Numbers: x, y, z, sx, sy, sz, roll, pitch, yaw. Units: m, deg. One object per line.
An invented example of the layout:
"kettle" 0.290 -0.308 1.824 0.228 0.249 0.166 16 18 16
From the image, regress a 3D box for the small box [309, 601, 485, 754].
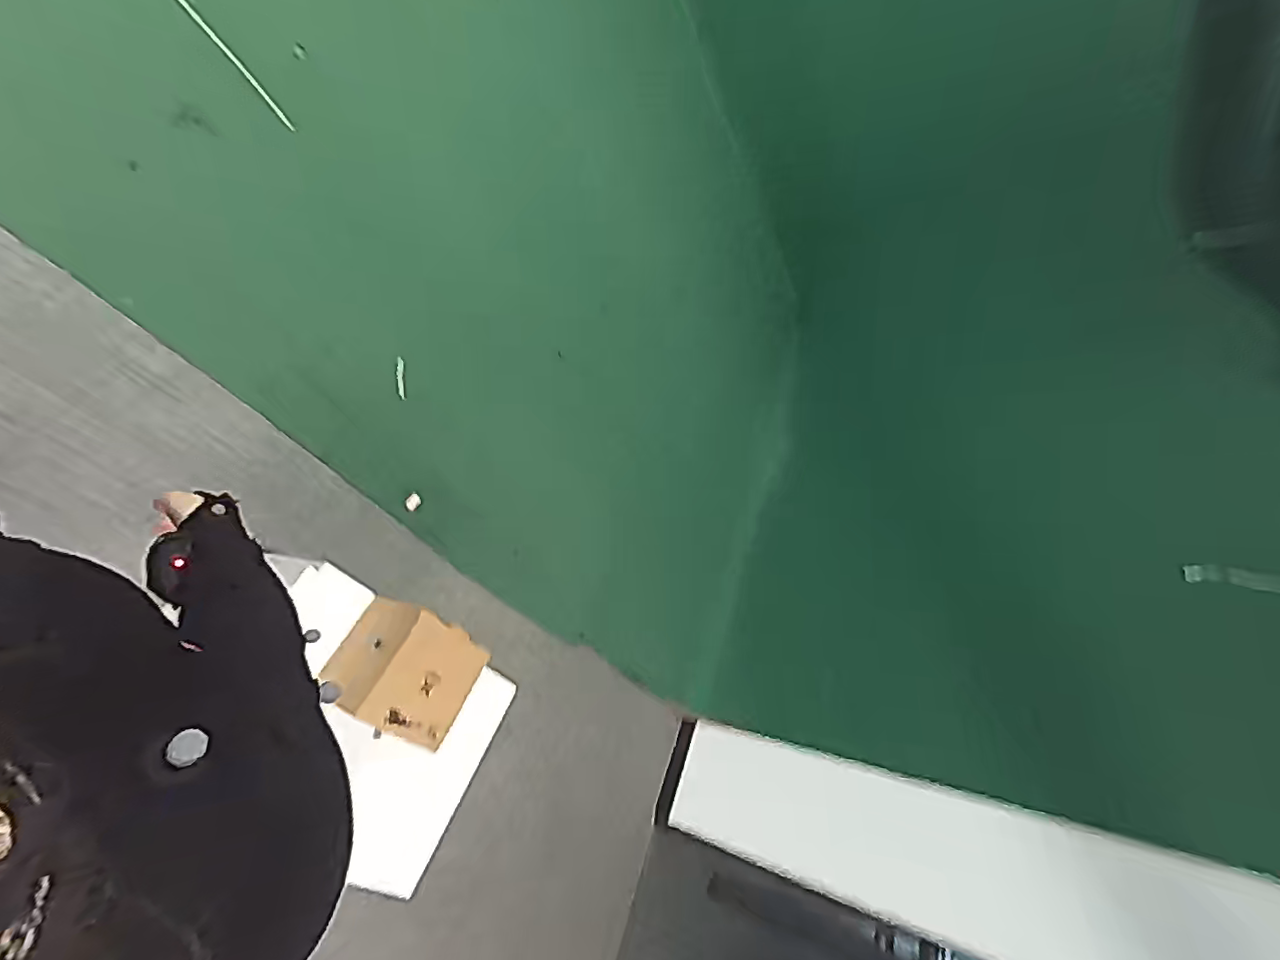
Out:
"small box" -0.403 0.319 0.900 0.168 0.176 0.179 53 50 -37
